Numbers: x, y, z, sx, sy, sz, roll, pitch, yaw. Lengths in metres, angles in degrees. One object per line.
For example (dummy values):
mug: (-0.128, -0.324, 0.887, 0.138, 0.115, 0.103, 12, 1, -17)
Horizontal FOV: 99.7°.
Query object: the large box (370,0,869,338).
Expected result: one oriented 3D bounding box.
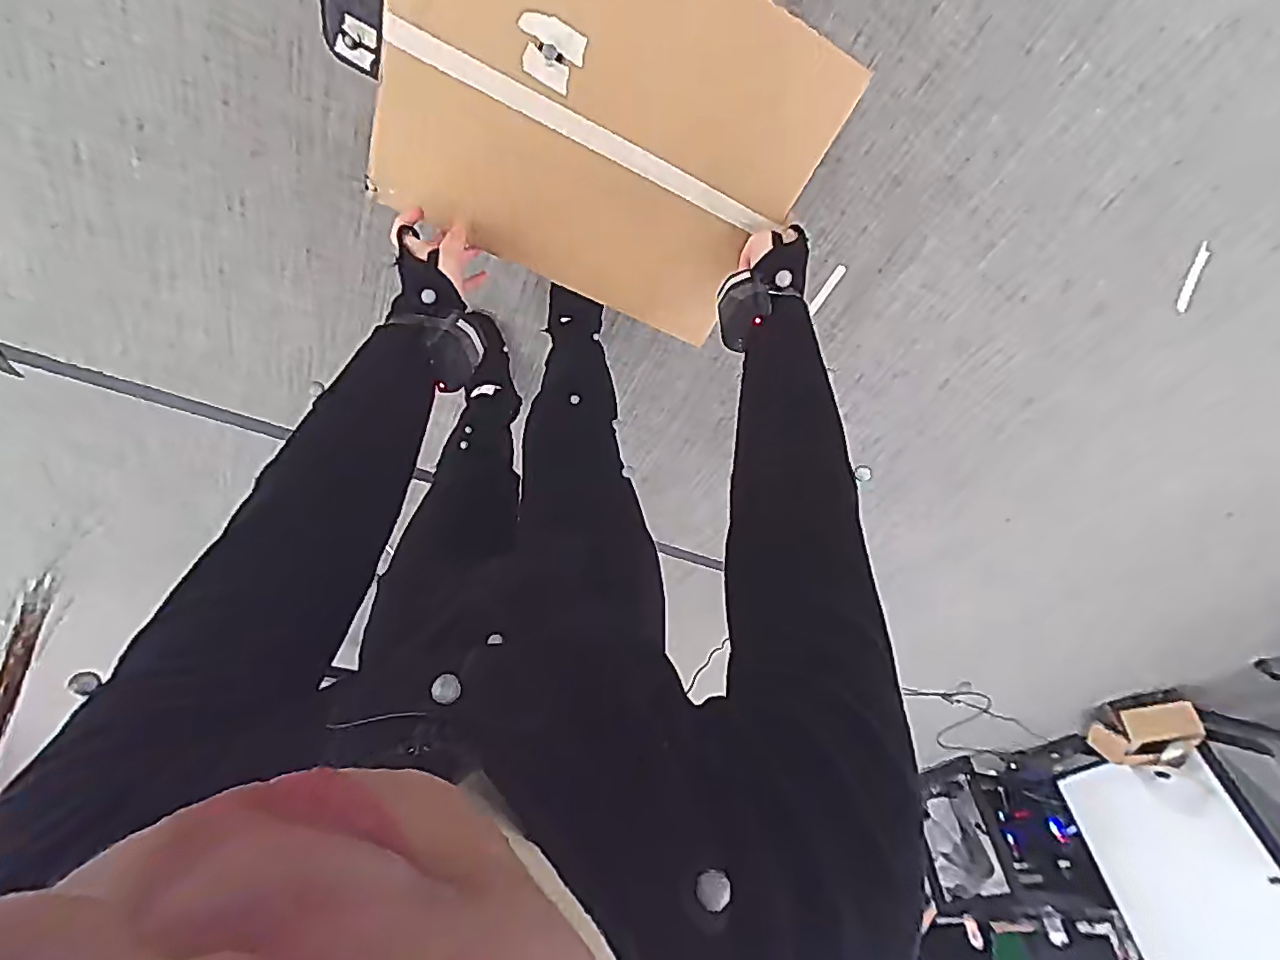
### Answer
large box: (-0.032, -0.434, 0.622, 0.408, 0.320, 0.320, 20, 131, -17)
